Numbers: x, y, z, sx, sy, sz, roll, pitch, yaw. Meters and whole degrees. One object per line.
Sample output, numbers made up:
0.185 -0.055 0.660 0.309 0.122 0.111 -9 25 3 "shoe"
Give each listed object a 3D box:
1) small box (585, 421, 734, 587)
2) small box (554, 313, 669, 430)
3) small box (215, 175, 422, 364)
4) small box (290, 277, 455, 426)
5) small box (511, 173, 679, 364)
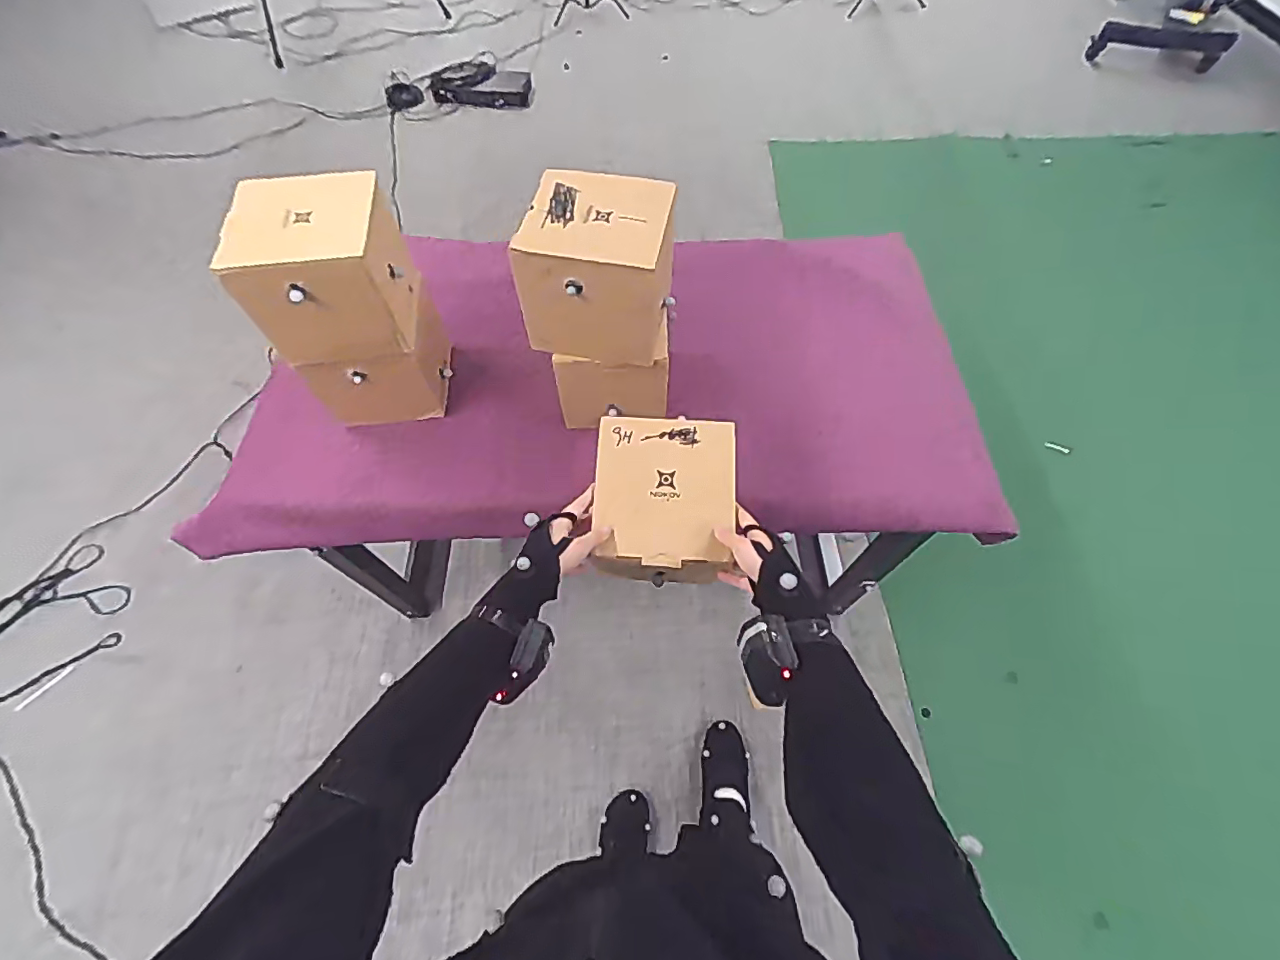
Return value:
0.026 0.040 0.700 0.168 0.176 0.179 3 72 1 "small box"
-0.039 -0.197 0.869 0.168 0.176 0.179 0 60 1 "small box"
-0.412 -0.277 0.732 0.179 0.176 0.168 -7 62 -3 "small box"
-0.416 -0.201 0.875 0.179 0.176 0.168 -5 61 -3 "small box"
-0.050 -0.276 0.725 0.179 0.176 0.168 10 61 5 "small box"
